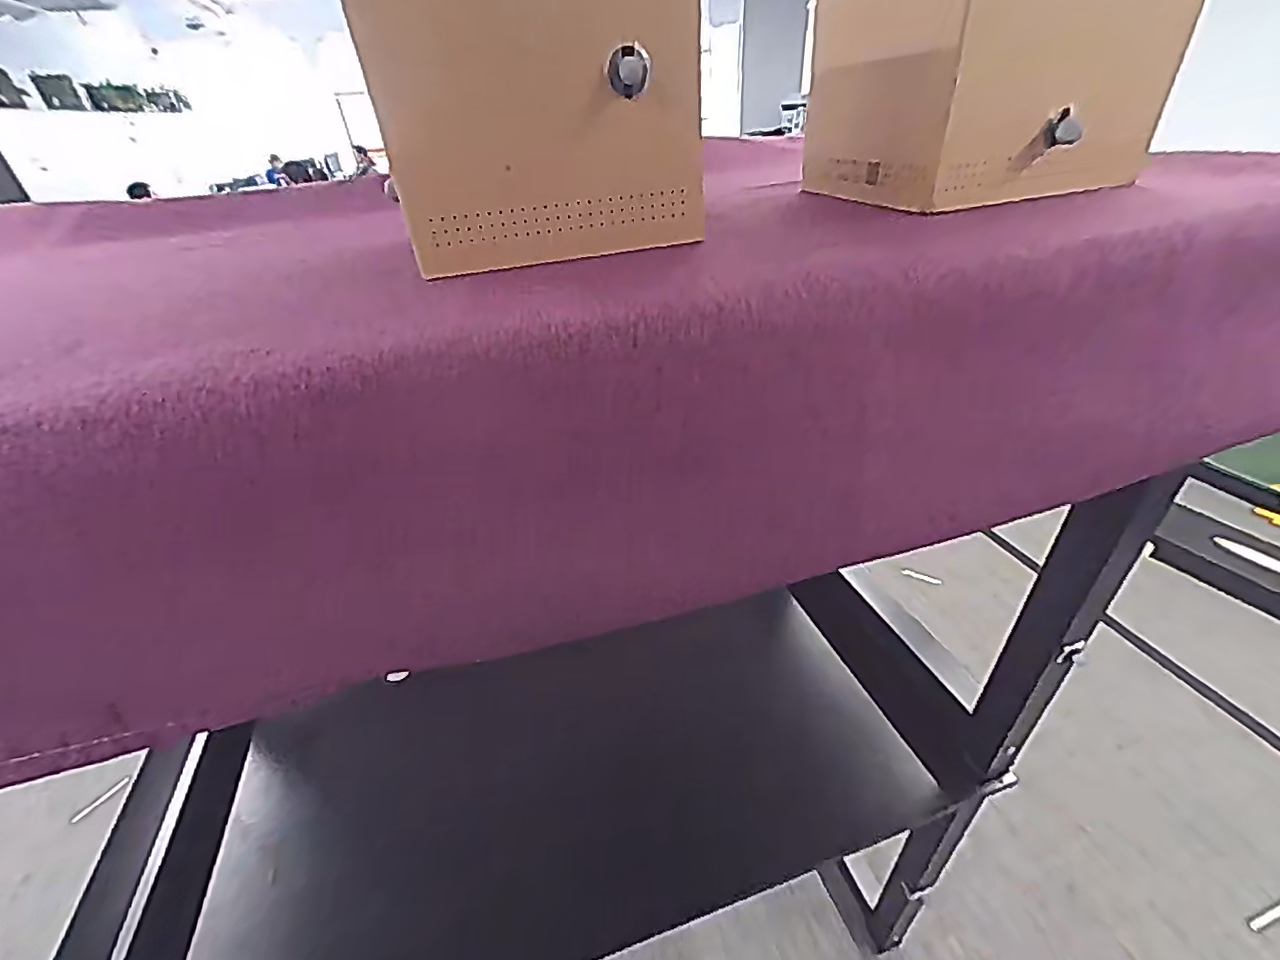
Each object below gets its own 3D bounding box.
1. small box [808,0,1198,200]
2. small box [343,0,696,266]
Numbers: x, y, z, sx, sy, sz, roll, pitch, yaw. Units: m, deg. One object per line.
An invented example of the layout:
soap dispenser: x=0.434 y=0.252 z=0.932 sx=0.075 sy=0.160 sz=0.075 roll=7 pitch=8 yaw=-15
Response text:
small box: x=0.240 y=-0.308 z=0.382 sx=0.179 sy=0.176 sz=0.168 roll=-12 pitch=34 yaw=-10
small box: x=-0.069 y=-0.248 z=0.343 sx=0.179 sy=0.176 sz=0.168 roll=-13 pitch=34 yaw=-10
